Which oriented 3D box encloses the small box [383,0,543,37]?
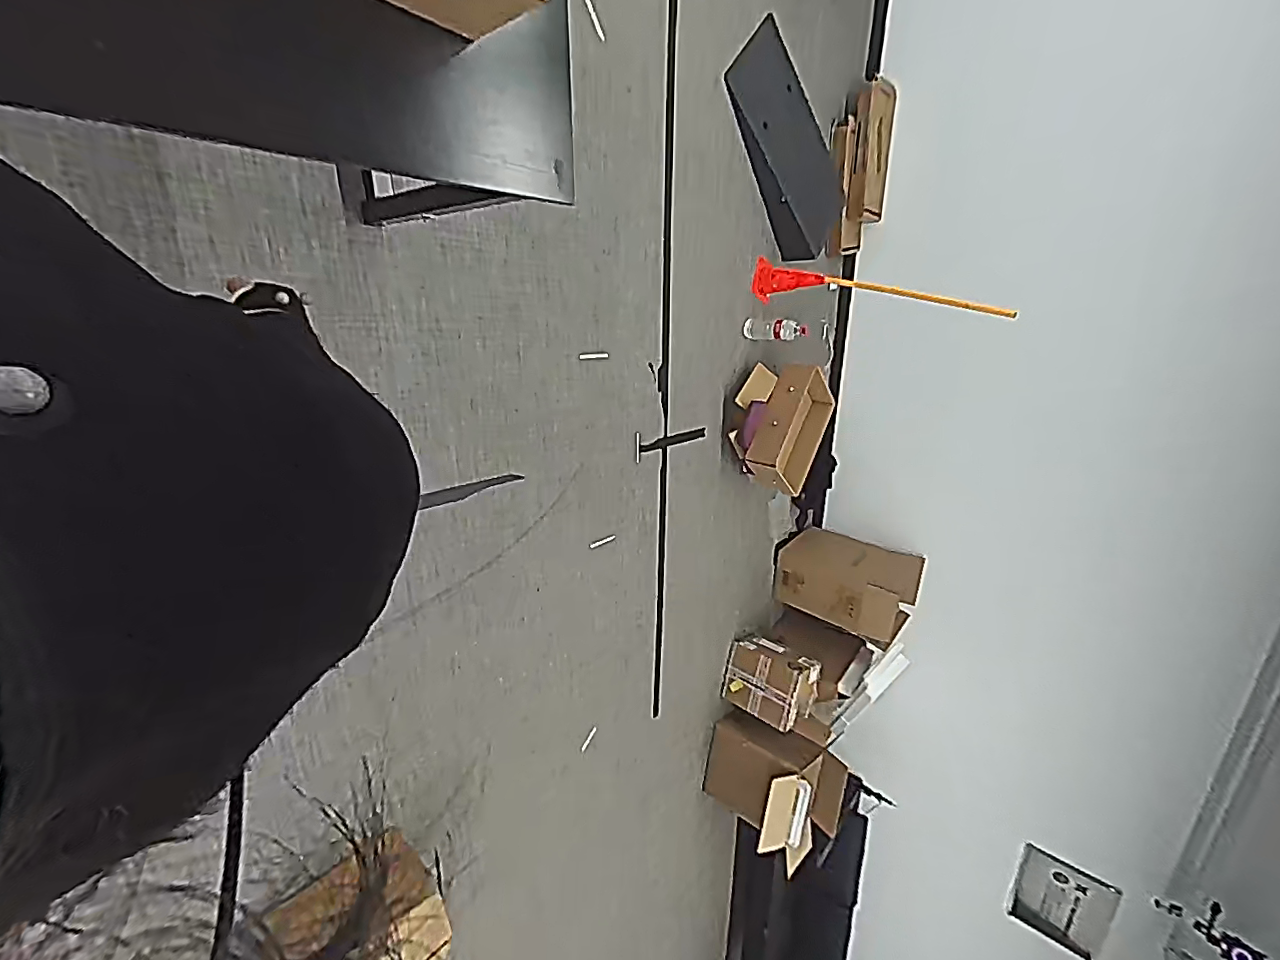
[{"bbox_3d":[-0.238,-0.685,0.657,0.179,0.176,0.168,-17,115,-47],"label":"small box"}]
